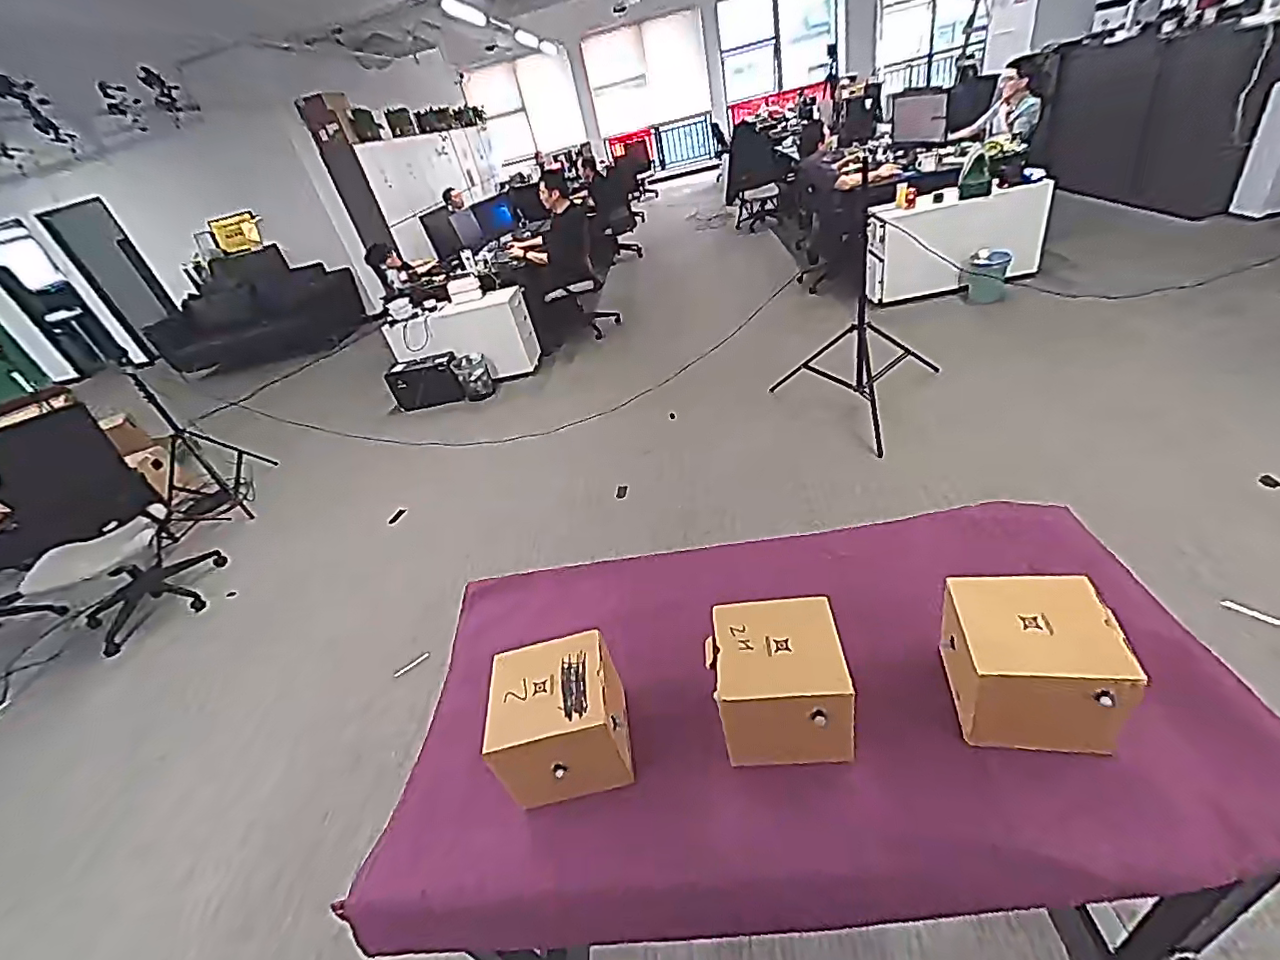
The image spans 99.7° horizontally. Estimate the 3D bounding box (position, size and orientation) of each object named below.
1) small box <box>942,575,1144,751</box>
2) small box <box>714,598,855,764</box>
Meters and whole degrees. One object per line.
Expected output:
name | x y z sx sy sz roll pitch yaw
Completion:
small box | 0.532 0.251 0.748 0.179 0.176 0.168 -4 35 17
small box | 0.210 0.300 0.805 0.179 0.176 0.168 -8 33 10
